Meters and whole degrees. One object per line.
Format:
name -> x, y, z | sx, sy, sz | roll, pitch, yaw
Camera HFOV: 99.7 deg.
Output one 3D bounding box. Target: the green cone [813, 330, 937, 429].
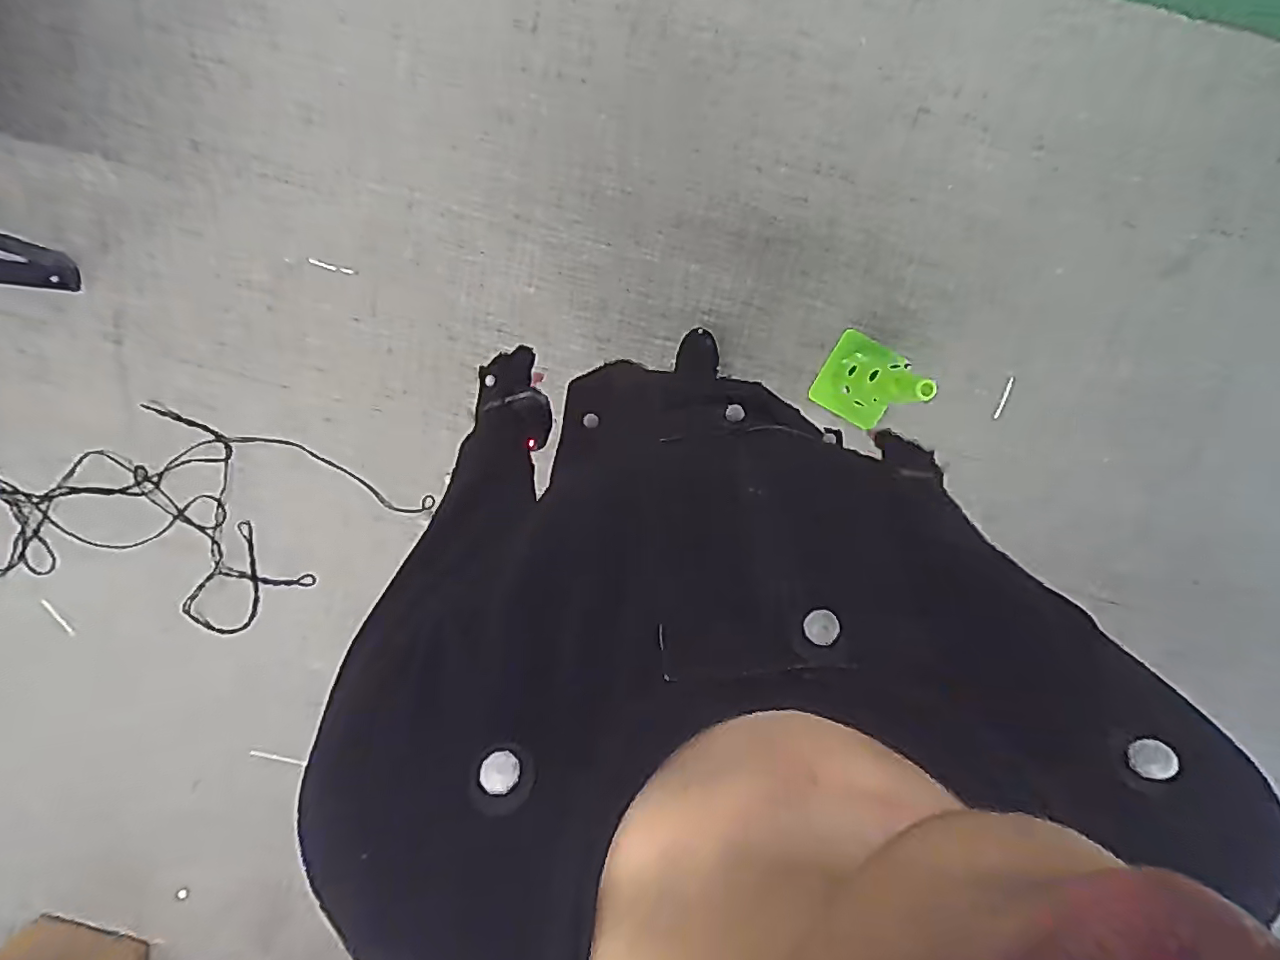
green cone -> 0.559, -0.217, 1.211 | 0.200, 0.368, 0.202 | 27, 103, -3
